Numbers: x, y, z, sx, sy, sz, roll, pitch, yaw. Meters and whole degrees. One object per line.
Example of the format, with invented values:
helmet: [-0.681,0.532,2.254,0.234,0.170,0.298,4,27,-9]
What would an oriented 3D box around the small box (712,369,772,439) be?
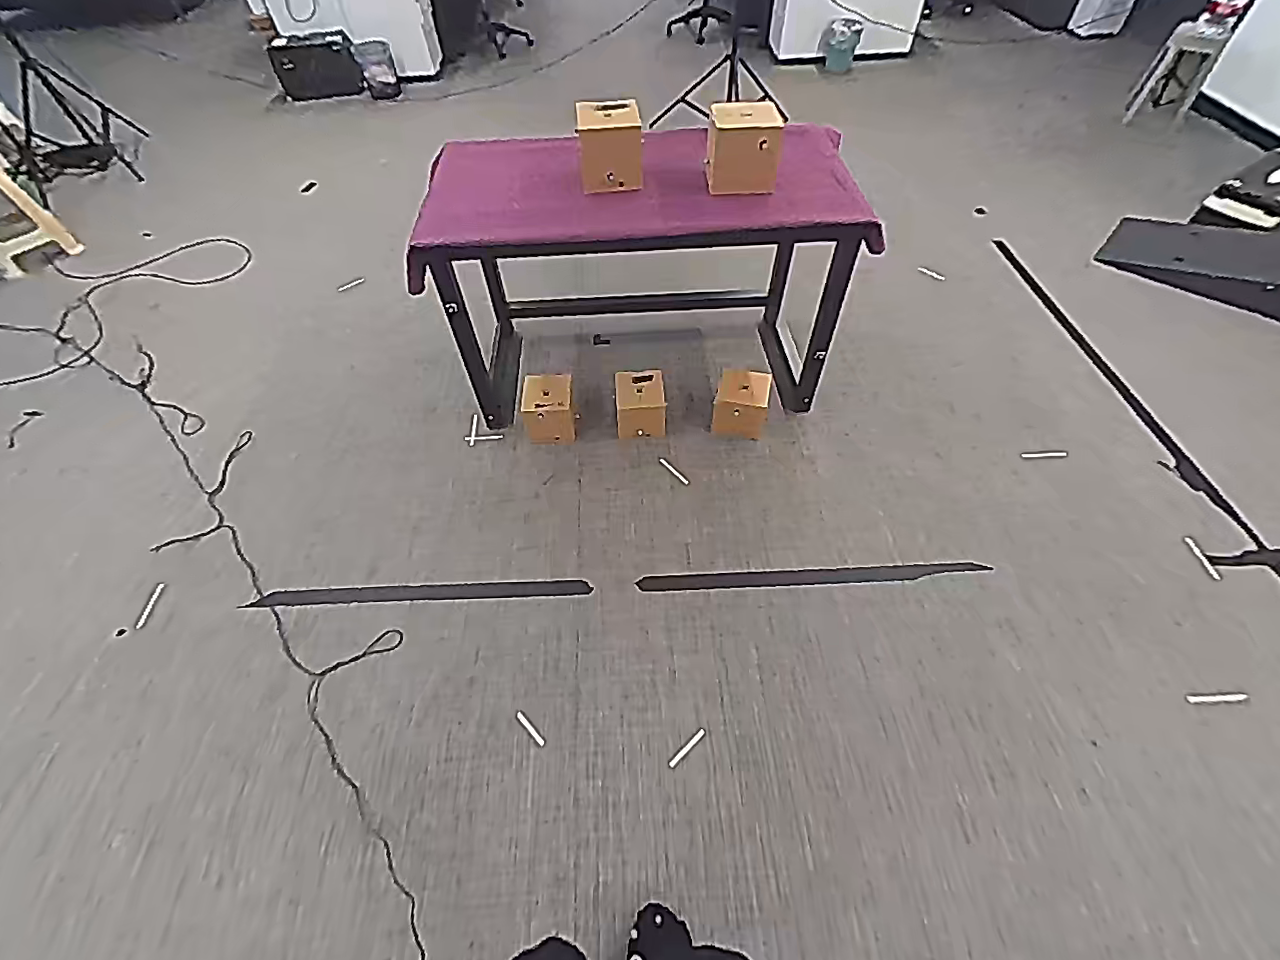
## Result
small box: [0.359,-0.265,1.913,0.179,0.176,0.168,10,55,11]

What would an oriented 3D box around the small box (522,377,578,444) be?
small box: [-0.315,-0.245,1.920,0.168,0.176,0.179,-2,52,1]

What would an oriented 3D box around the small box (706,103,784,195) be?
small box: [0.279,-0.900,1.478,0.179,0.176,0.168,-2,52,1]

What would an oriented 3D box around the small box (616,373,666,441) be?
small box: [0.002,-0.258,1.918,0.168,0.176,0.179,-4,54,-1]
